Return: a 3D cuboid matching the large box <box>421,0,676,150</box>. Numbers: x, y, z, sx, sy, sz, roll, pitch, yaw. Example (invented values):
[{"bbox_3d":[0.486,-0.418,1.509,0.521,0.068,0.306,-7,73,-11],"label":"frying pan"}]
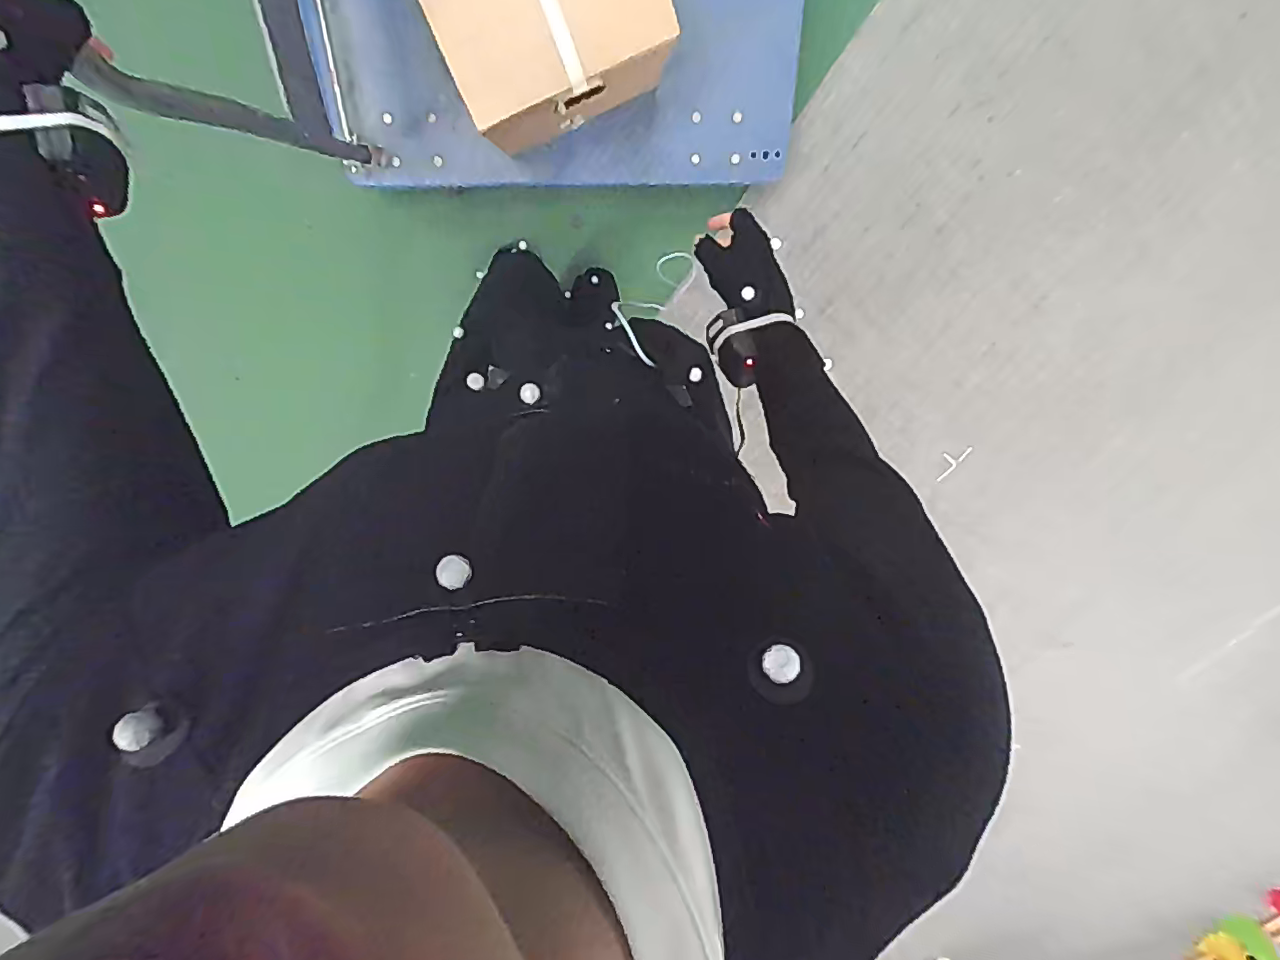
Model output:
[{"bbox_3d":[-0.169,-0.784,0.804,0.320,0.320,0.408,-21,115,6],"label":"large box"}]
